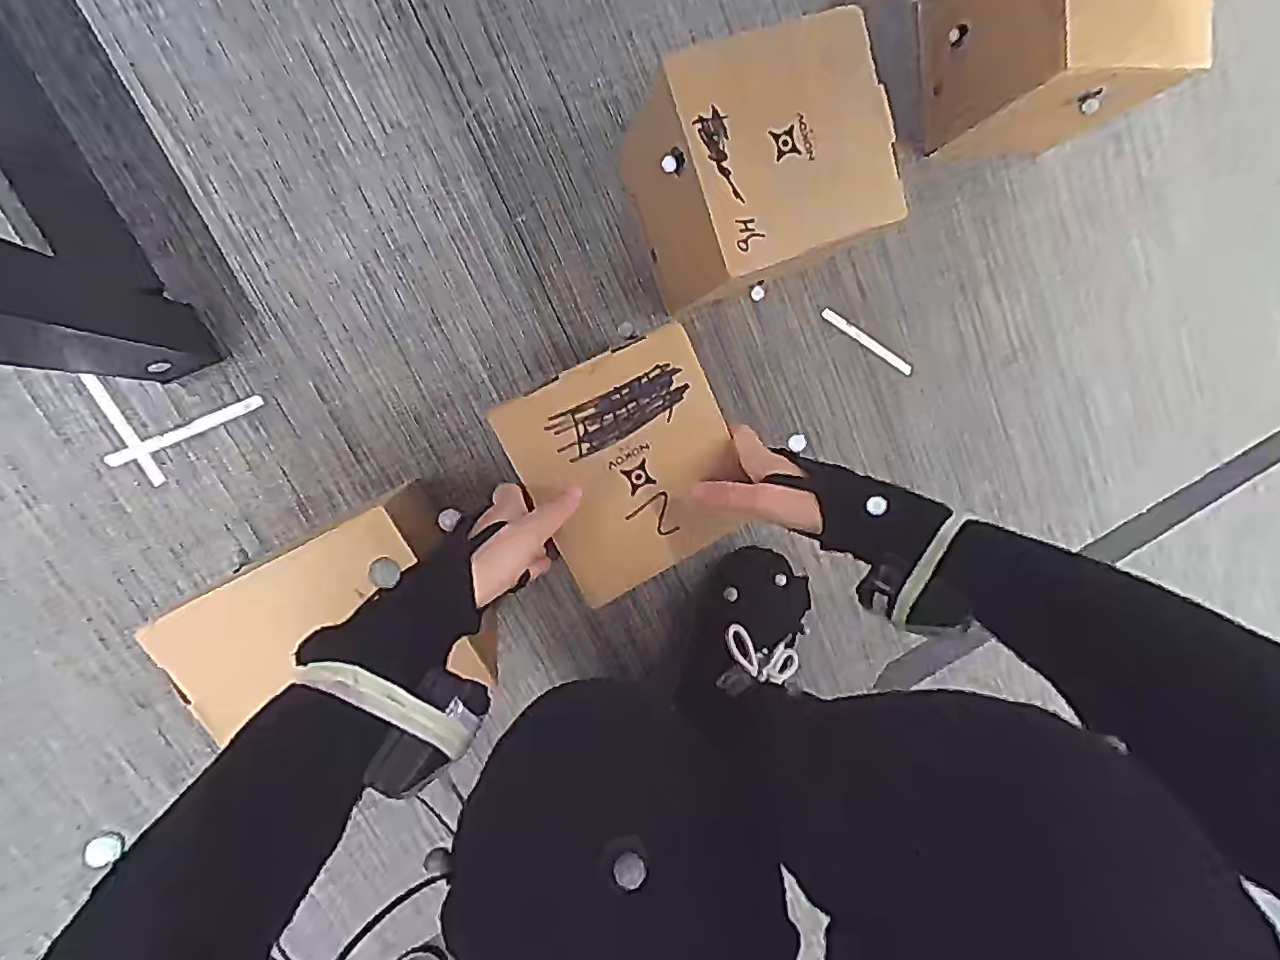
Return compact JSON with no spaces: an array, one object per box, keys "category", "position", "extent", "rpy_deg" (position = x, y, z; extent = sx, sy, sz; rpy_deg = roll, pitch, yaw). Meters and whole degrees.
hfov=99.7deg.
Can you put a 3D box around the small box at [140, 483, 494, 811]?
[{"category":"small box","position":[-0.238,0.118,0.459],"extent":[0.179,0.176,0.168],"rpy_deg":[-30,104,-10]}]

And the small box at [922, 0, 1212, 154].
[{"category":"small box","position":[0.424,-0.459,0.554],"extent":[0.179,0.176,0.168],"rpy_deg":[-10,99,-12]}]

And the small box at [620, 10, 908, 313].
[{"category":"small box","position":[0.100,-0.269,0.495],"extent":[0.179,0.176,0.168],"rpy_deg":[-22,101,-11]}]
